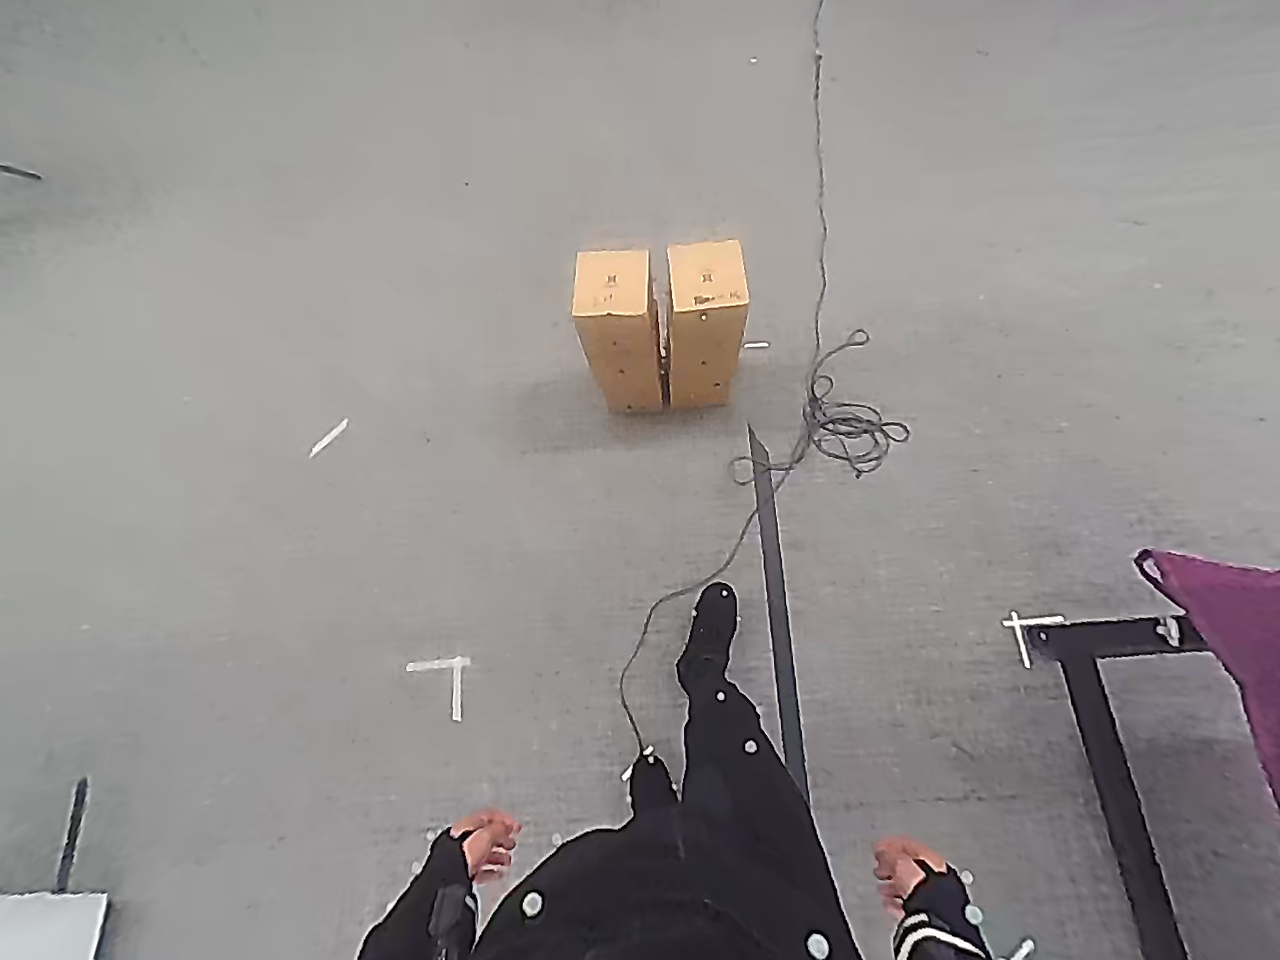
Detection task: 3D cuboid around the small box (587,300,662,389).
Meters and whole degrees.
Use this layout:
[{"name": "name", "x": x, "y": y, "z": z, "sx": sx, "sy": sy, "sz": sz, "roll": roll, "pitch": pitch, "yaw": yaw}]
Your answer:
[{"name": "small box", "x": -0.033, "y": -0.349, "z": 1.413, "sx": 0.179, "sy": 0.176, "sz": 0.168, "roll": -1, "pitch": 72, "yaw": 7}]

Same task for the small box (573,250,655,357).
[{"name": "small box", "x": -0.054, "y": -0.406, "z": 1.260, "sx": 0.168, "sy": 0.176, "sz": 0.179, "roll": 0, "pitch": 73, "yaw": 6}]
